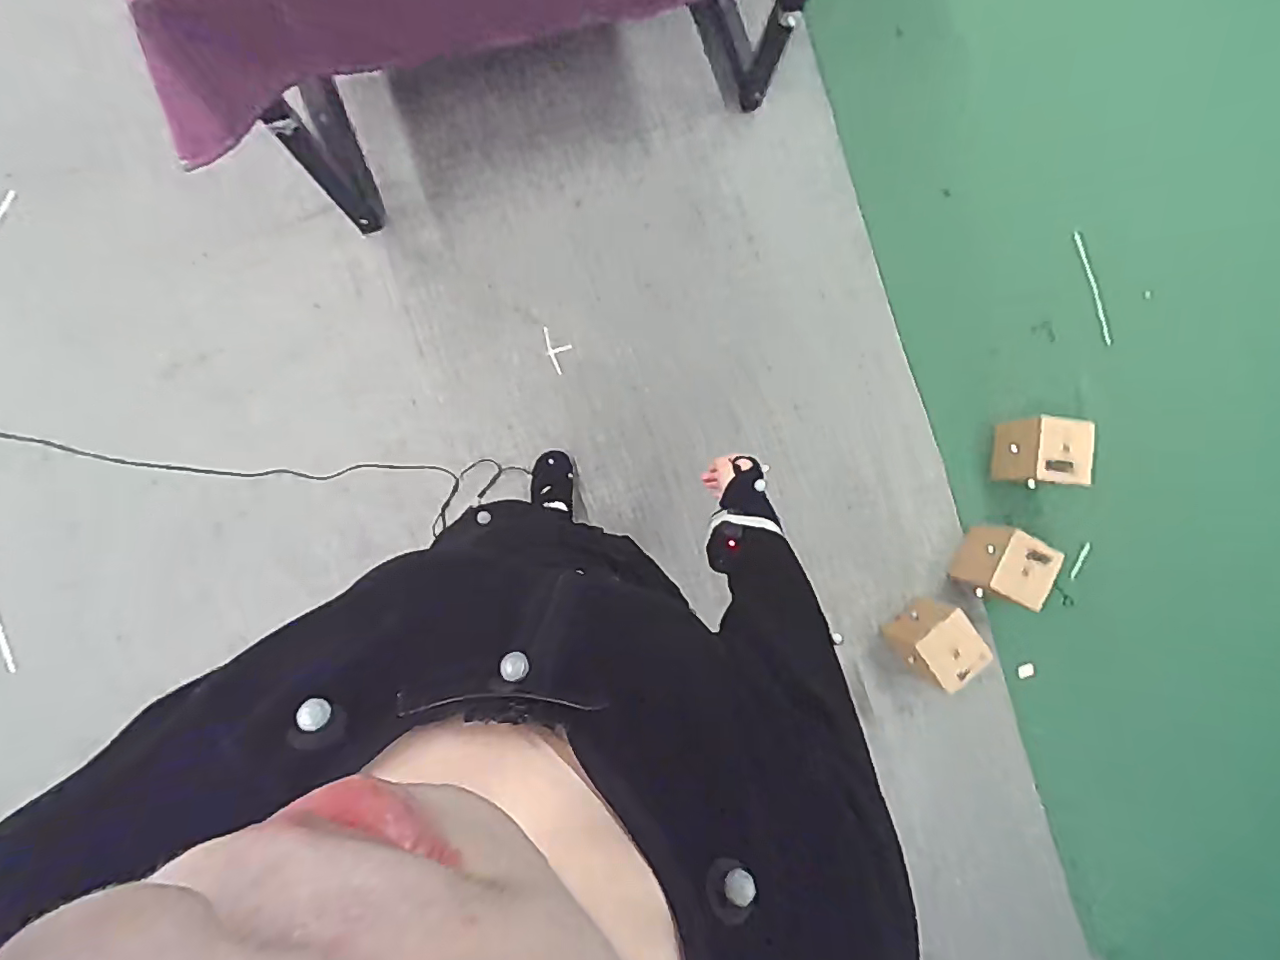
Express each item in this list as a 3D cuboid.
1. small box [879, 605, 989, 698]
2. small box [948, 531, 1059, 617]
[{"bbox_3d":[0.815,0.468,1.518,0.168,0.176,0.179,-36,93,-5],"label":"small box"},{"bbox_3d":[1.027,0.258,1.542,0.168,0.176,0.179,28,87,-5],"label":"small box"}]
